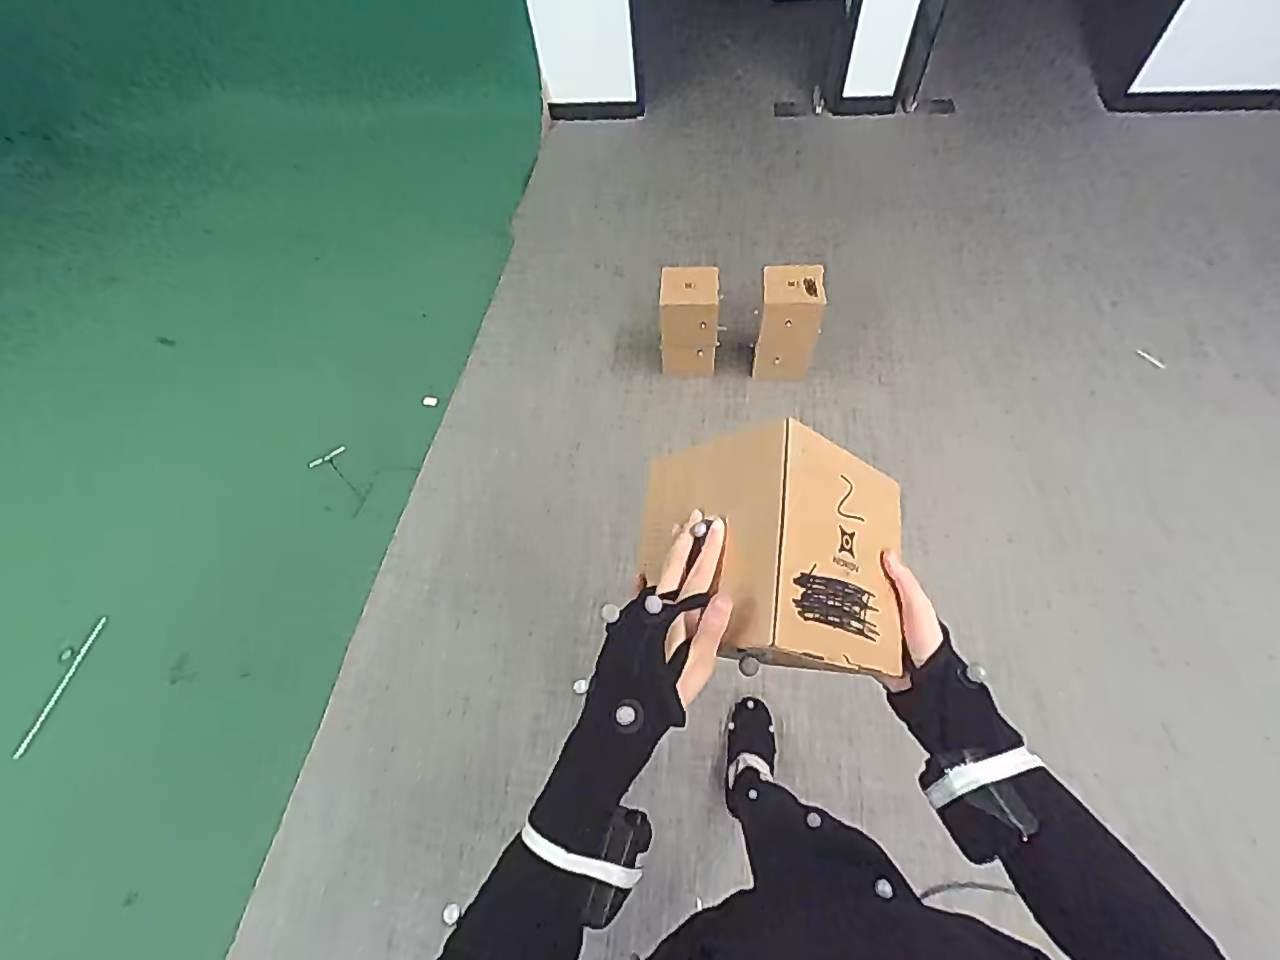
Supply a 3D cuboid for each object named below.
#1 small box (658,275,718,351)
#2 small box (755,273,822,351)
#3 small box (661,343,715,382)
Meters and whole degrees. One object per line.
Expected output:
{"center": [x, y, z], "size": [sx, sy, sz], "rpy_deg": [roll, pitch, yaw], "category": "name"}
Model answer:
{"center": [0.154, -0.522, 1.707], "size": [0.179, 0.176, 0.168], "rpy_deg": [1, 59, 7], "category": "small box"}
{"center": [0.454, -0.516, 1.670], "size": [0.179, 0.176, 0.168], "rpy_deg": [2, 59, 8], "category": "small box"}
{"center": [0.167, -0.449, 1.852], "size": [0.179, 0.176, 0.168], "rpy_deg": [1, 60, 7], "category": "small box"}
